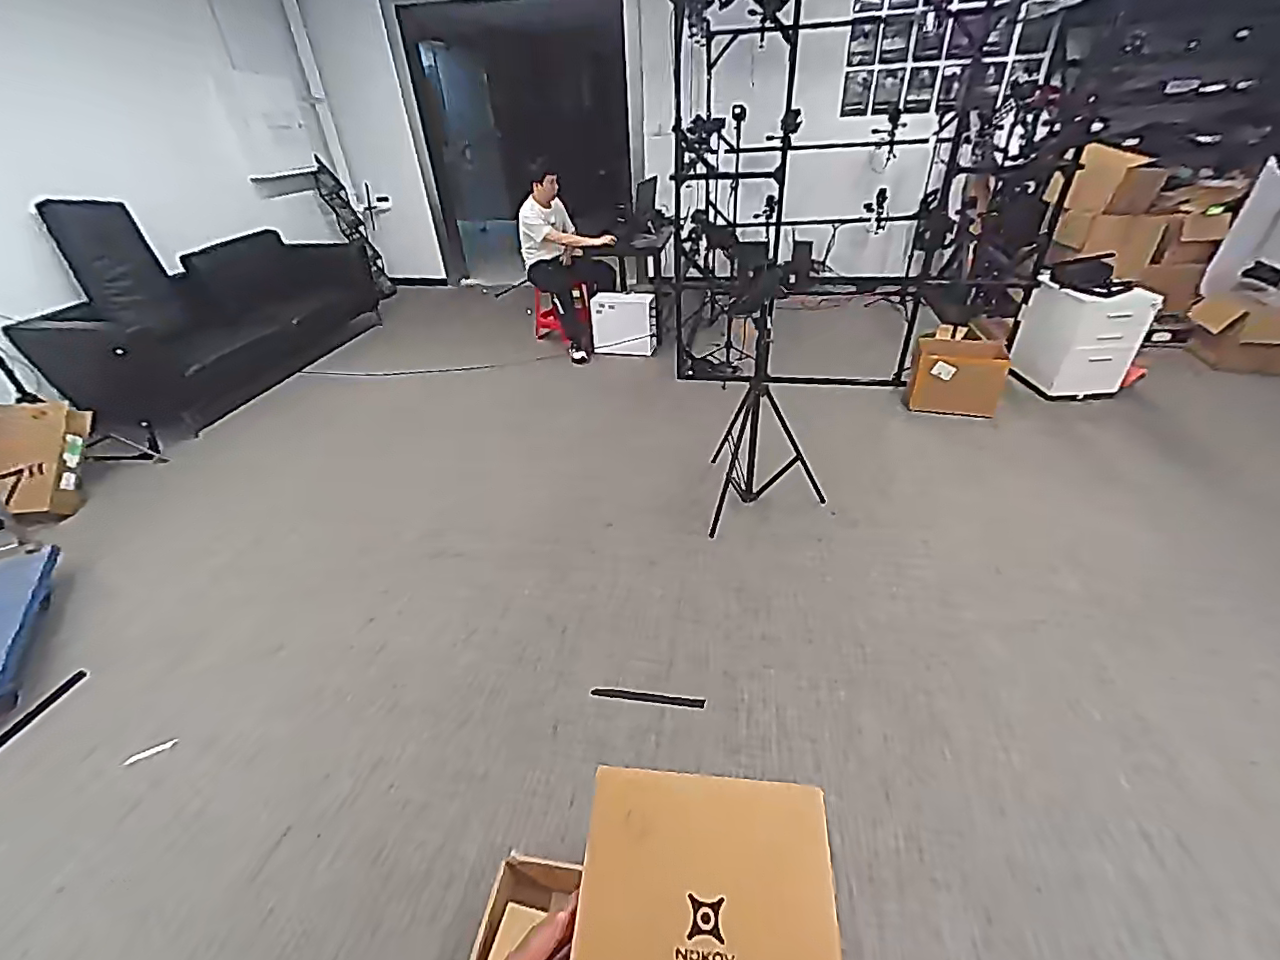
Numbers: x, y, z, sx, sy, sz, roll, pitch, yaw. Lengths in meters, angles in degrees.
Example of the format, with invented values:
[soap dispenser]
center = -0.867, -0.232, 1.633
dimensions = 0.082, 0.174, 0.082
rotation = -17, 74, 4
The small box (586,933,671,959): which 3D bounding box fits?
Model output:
[small box]
center = -0.024, 1.010, 1.034
dimensions = 0.168, 0.176, 0.179
rotation = 1, 35, 6
